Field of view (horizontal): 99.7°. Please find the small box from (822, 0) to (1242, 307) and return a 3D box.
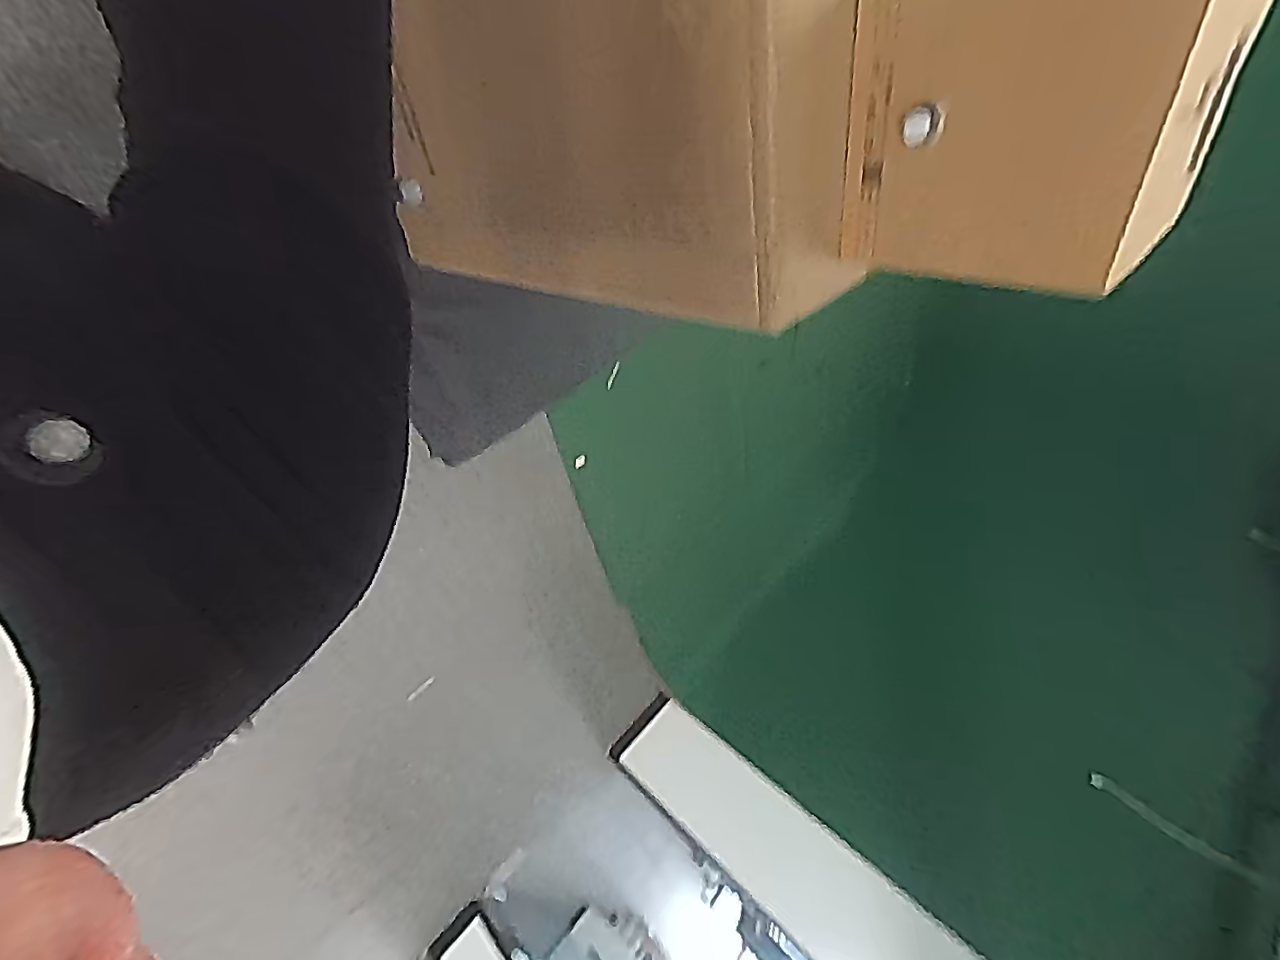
[{"bbox_3d":[0.248,-0.238,0.364,0.179,0.176,0.168,-34,133,-28],"label":"small box"}]
